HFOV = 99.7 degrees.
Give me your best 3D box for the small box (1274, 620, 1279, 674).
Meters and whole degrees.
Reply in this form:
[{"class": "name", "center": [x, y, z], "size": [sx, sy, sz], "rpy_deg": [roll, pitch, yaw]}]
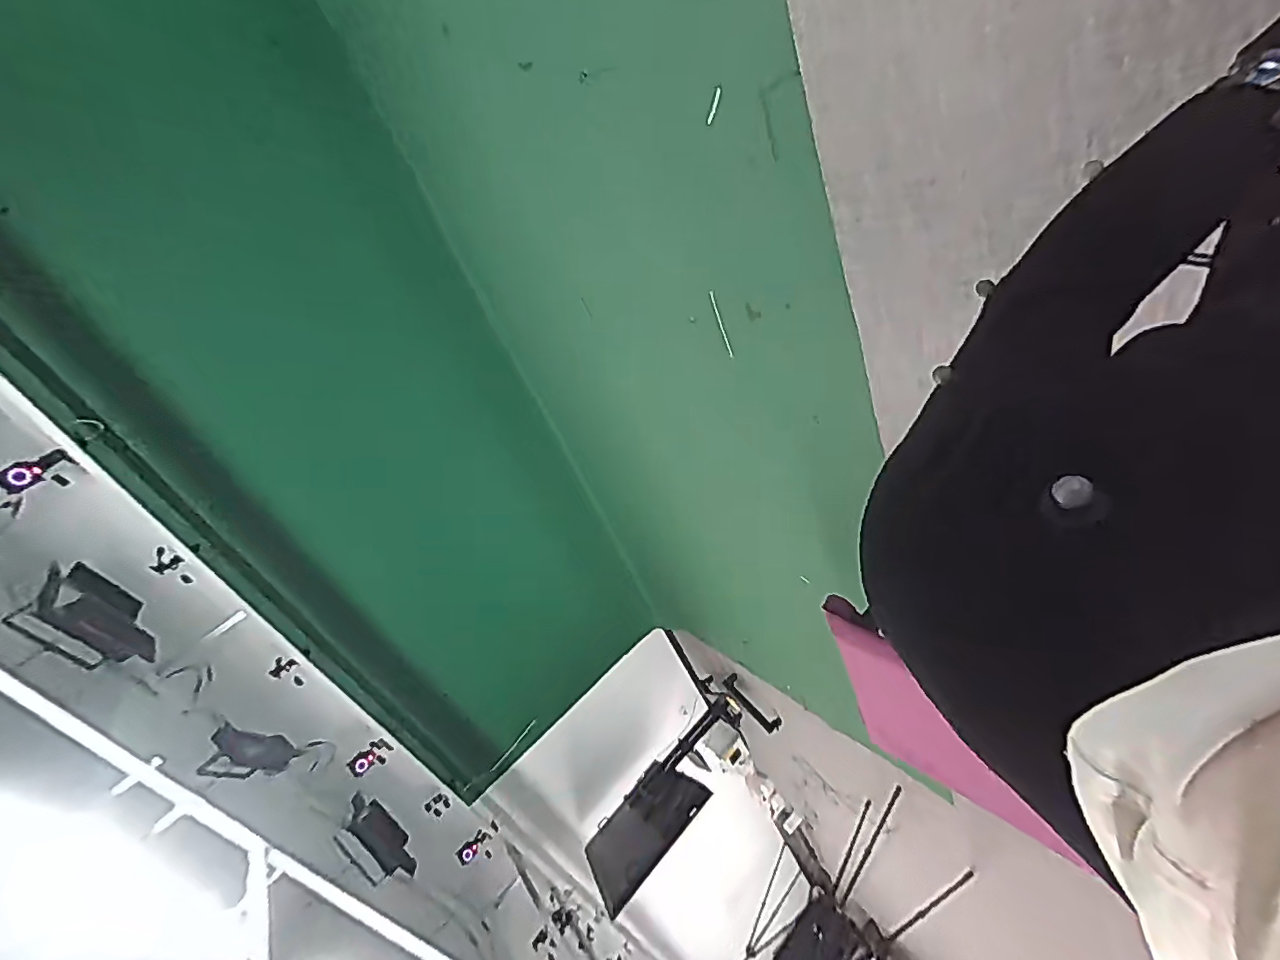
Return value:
[{"class": "small box", "center": [1.684, 0.383, 1.311], "size": [0.168, 0.176, 0.179], "rpy_deg": [12, 137, 57]}]
